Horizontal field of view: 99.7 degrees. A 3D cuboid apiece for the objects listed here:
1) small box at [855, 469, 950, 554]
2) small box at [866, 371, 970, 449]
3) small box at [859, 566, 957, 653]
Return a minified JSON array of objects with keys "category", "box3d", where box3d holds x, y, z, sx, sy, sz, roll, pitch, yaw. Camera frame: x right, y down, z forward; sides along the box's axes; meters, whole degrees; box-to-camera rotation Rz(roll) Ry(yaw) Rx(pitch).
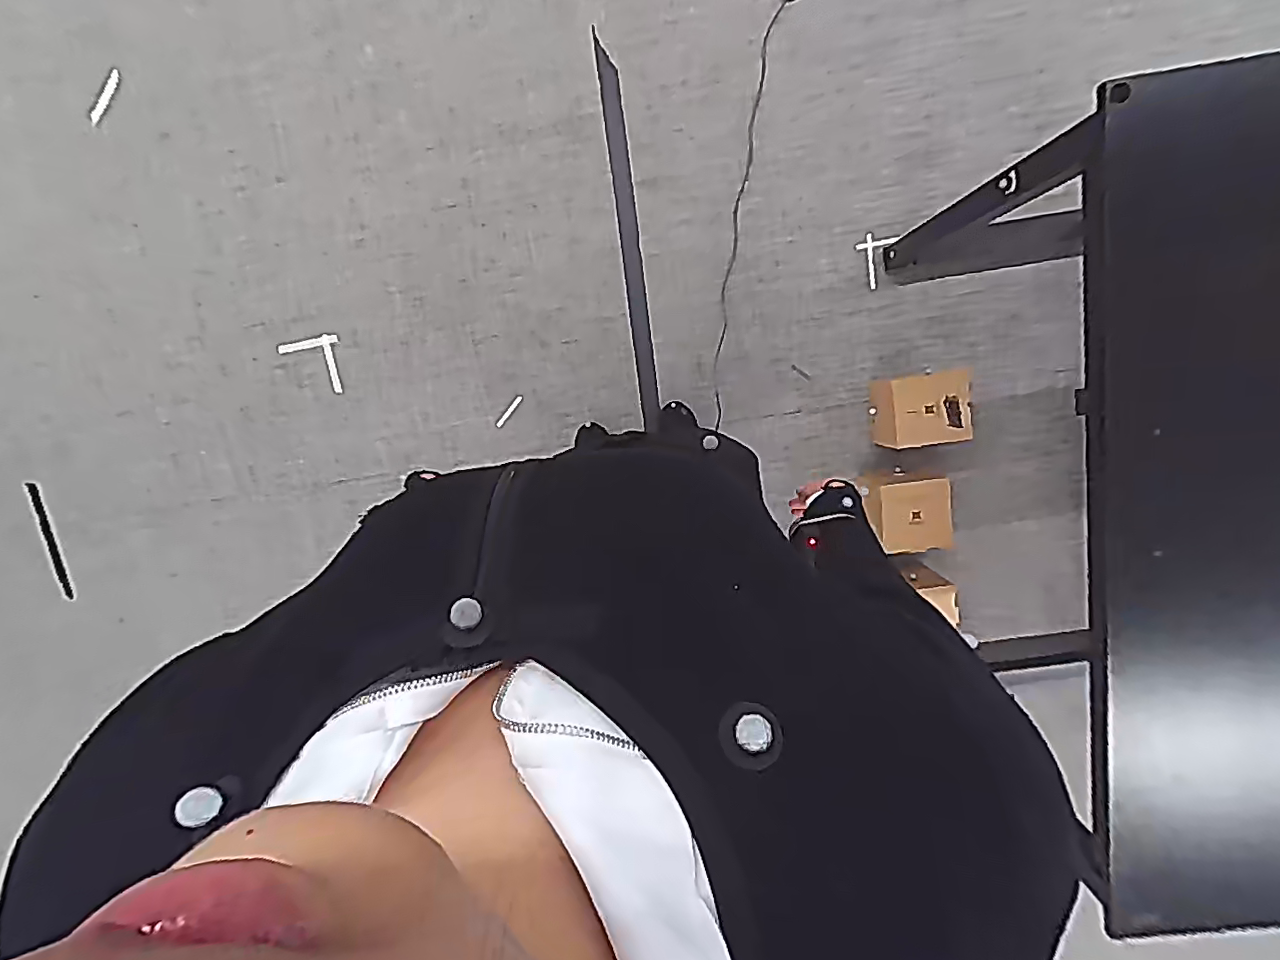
[{"category":"small box","box3d":[0.668,0.076,1.389,0.168,0.176,0.179,-8,98,3]},{"category":"small box","box3d":[0.685,-0.178,1.346,0.179,0.176,0.168,-8,98,5]},{"category":"small box","box3d":[0.700,0.334,1.425,0.179,0.176,0.168,-8,98,4]}]
